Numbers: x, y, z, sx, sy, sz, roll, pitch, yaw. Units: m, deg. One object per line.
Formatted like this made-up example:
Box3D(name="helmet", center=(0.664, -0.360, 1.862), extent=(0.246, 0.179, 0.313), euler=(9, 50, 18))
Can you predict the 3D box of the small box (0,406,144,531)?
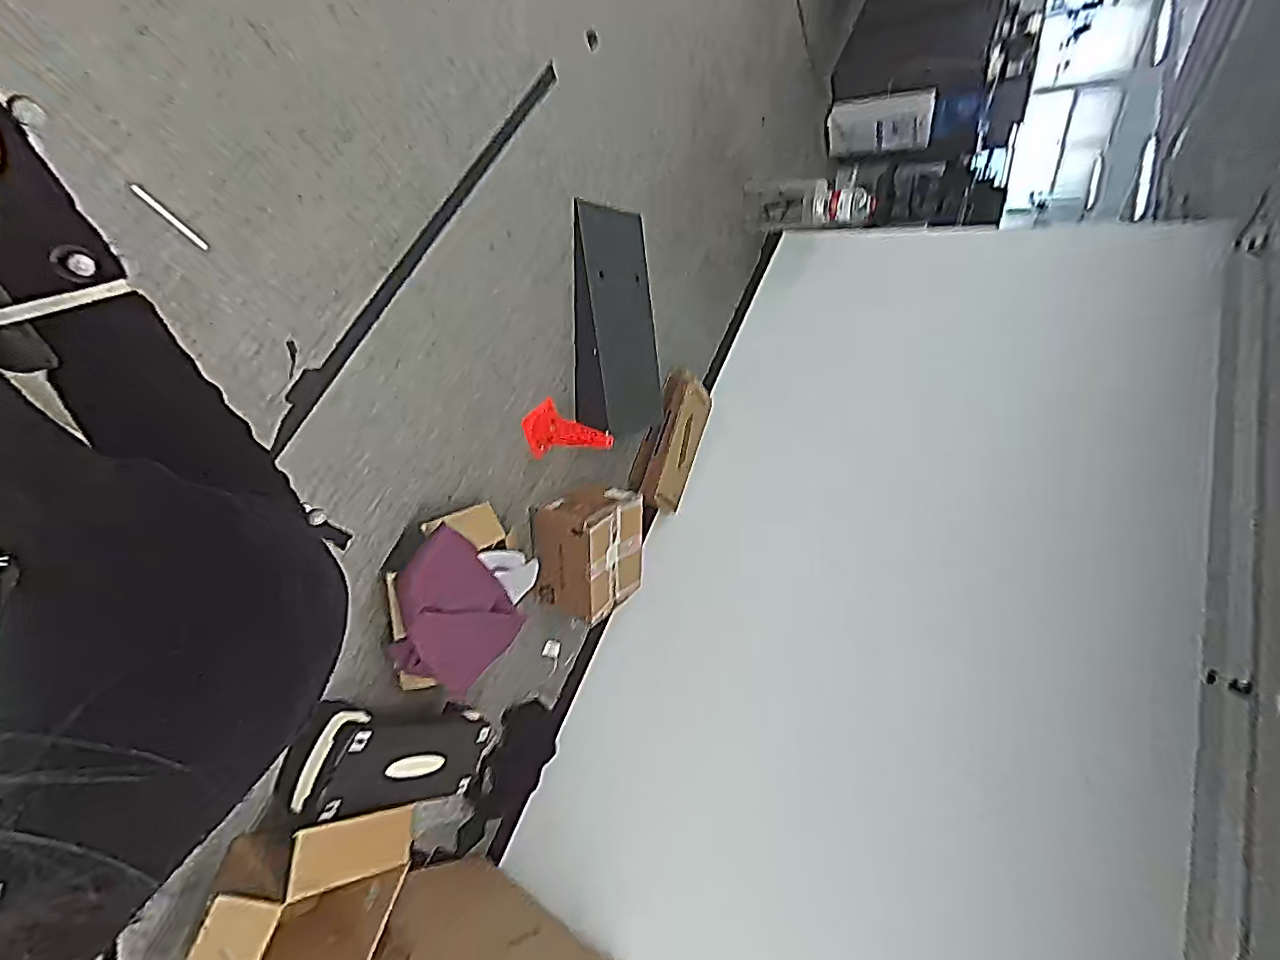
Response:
Box3D(name="small box", center=(-1.118, -0.026, 1.021), extent=(0.168, 0.176, 0.179), euler=(-64, 147, -19))
